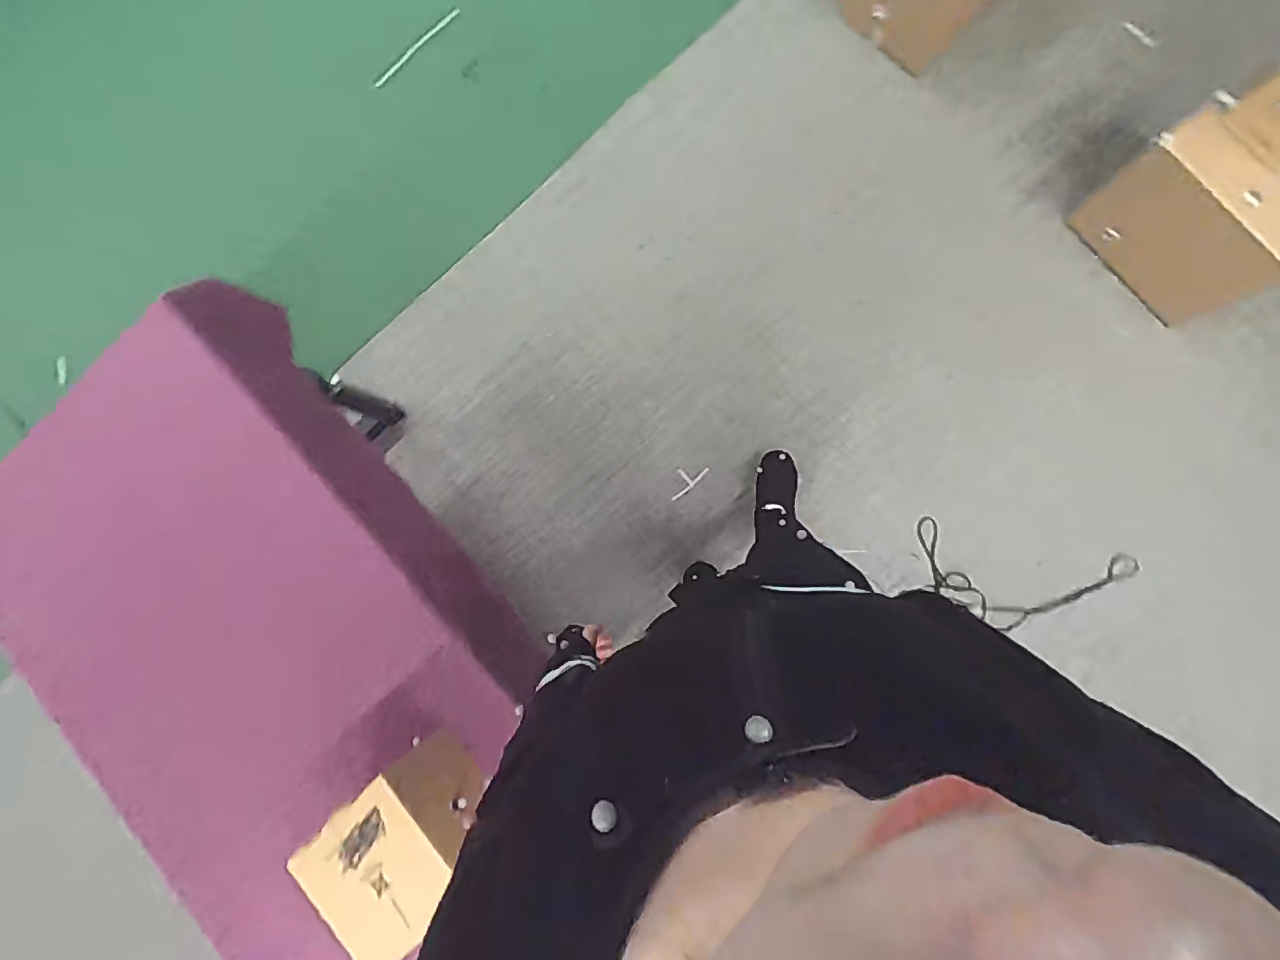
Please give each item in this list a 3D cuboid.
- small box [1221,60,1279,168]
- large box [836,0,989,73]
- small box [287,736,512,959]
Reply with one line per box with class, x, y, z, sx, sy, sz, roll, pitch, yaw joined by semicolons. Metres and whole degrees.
small box;1.321;-0.764;1.059;0.179;0.176;0.168;-36;83;0
large box;0.796;-1.413;1.419;0.408;0.320;0.320;-43;82;0
small box;-0.306;0.475;0.721;0.168;0.176;0.179;-43;83;2
